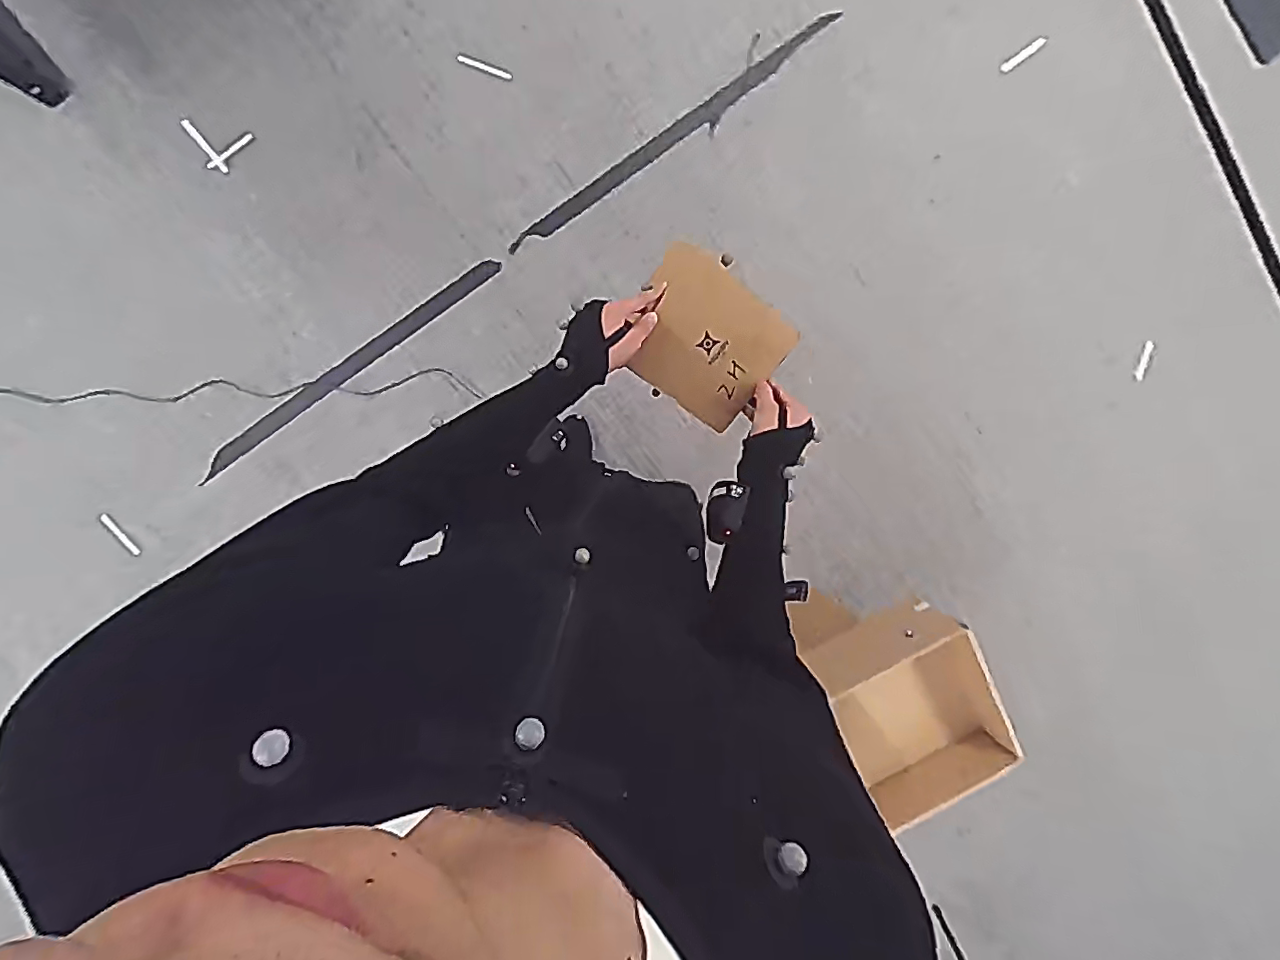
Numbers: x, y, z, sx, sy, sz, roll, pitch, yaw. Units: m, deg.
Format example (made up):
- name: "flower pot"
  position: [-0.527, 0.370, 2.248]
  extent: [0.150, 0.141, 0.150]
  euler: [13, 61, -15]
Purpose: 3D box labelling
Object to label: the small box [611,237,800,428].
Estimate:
- name: "small box"
  position: [0.073, -0.203, 0.728]
  extent: [0.179, 0.176, 0.168]
  euler: [31, 110, -20]
